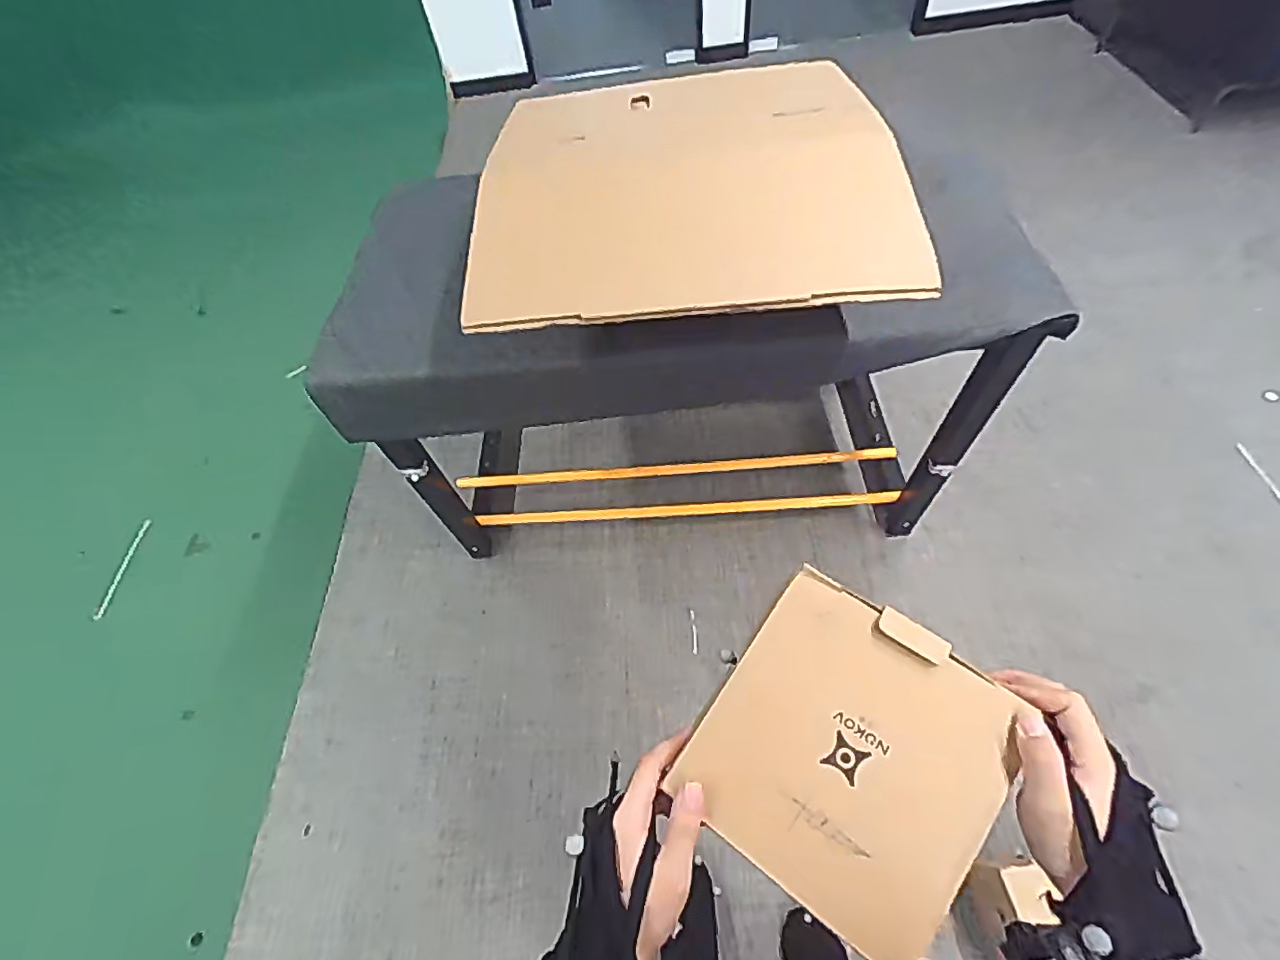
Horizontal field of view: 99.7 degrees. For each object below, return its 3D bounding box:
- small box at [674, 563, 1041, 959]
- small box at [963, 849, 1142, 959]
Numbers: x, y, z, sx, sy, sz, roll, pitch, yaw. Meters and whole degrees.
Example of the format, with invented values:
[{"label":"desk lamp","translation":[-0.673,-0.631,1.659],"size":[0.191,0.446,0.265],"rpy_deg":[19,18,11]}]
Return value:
[{"label":"small box","translation":[0.145,0.190,0.413],"size":[0.168,0.176,0.179],"rpy_deg":[32,80,18]},{"label":"small box","translation":[0.699,0.754,0.936],"size":[0.168,0.176,0.179],"rpy_deg":[-9,56,1]}]
